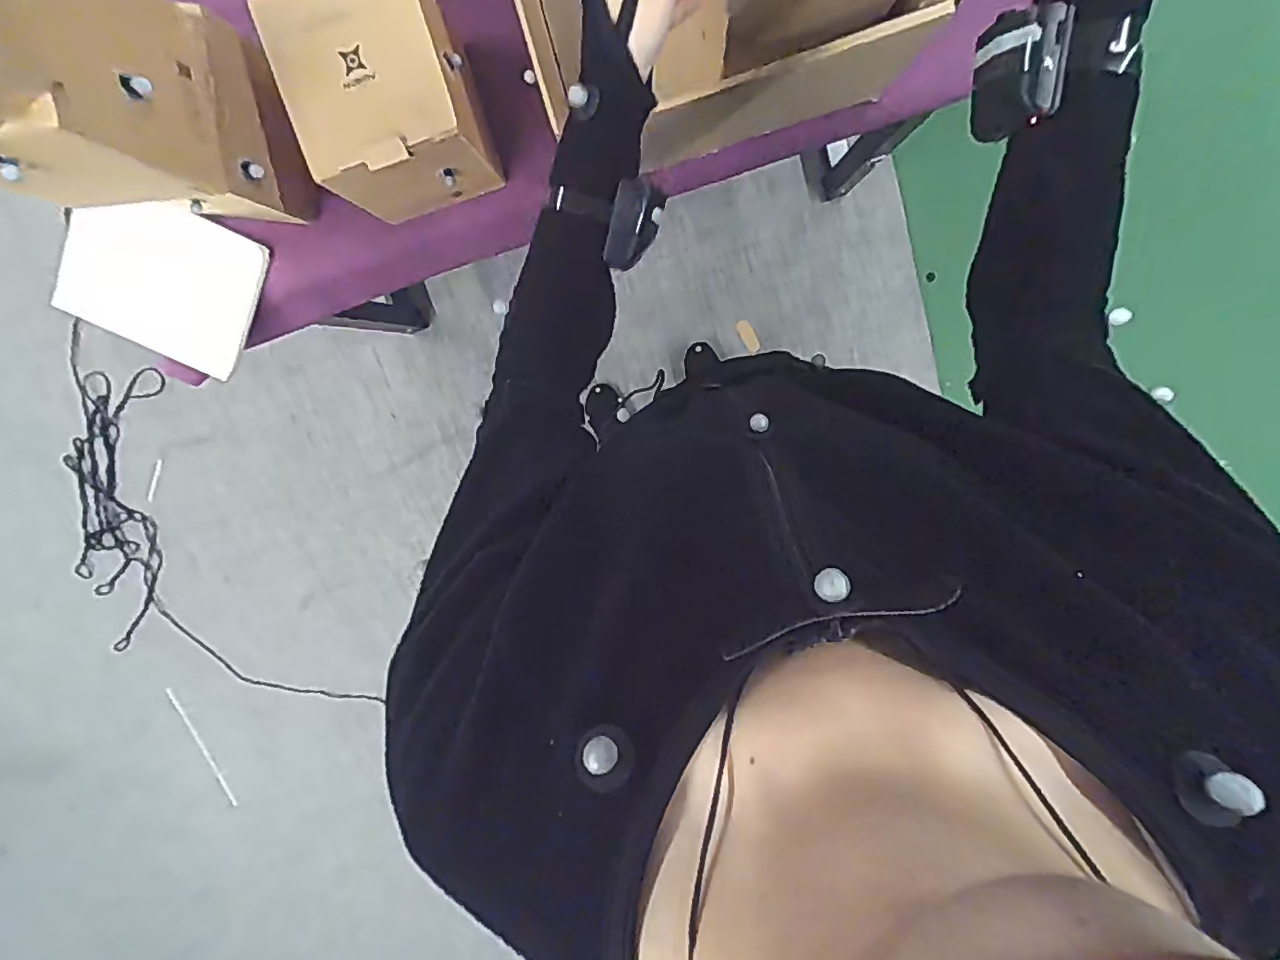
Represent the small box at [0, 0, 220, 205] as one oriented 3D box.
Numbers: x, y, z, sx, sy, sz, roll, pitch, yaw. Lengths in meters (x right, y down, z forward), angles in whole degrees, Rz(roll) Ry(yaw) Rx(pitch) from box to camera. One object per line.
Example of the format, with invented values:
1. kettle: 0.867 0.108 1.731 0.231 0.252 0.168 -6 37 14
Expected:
1. small box: -0.517 -0.357 0.476 0.179 0.176 0.168 -3 102 4
